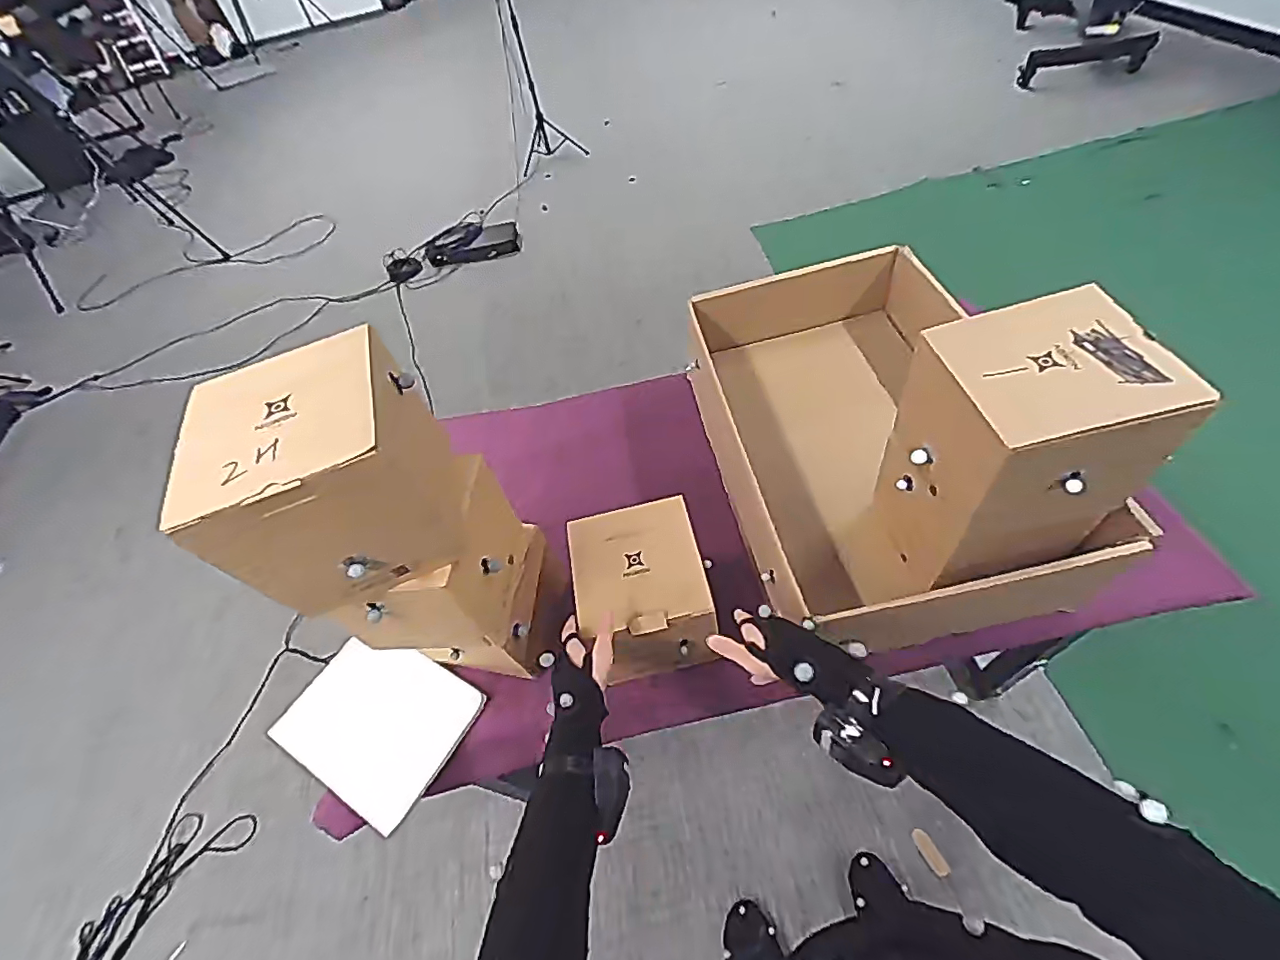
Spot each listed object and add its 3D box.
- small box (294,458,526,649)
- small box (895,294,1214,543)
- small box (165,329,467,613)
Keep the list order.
[{"bbox_3d":[-0.251,0.093,0.641,0.179,0.176,0.168,-4,53,9],"label":"small box"},{"bbox_3d":[0.394,-0.056,0.560,0.179,0.176,0.168,-14,52,4],"label":"small box"},{"bbox_3d":[-0.283,-0.005,0.512,0.168,0.176,0.179,-22,53,-4],"label":"small box"}]
